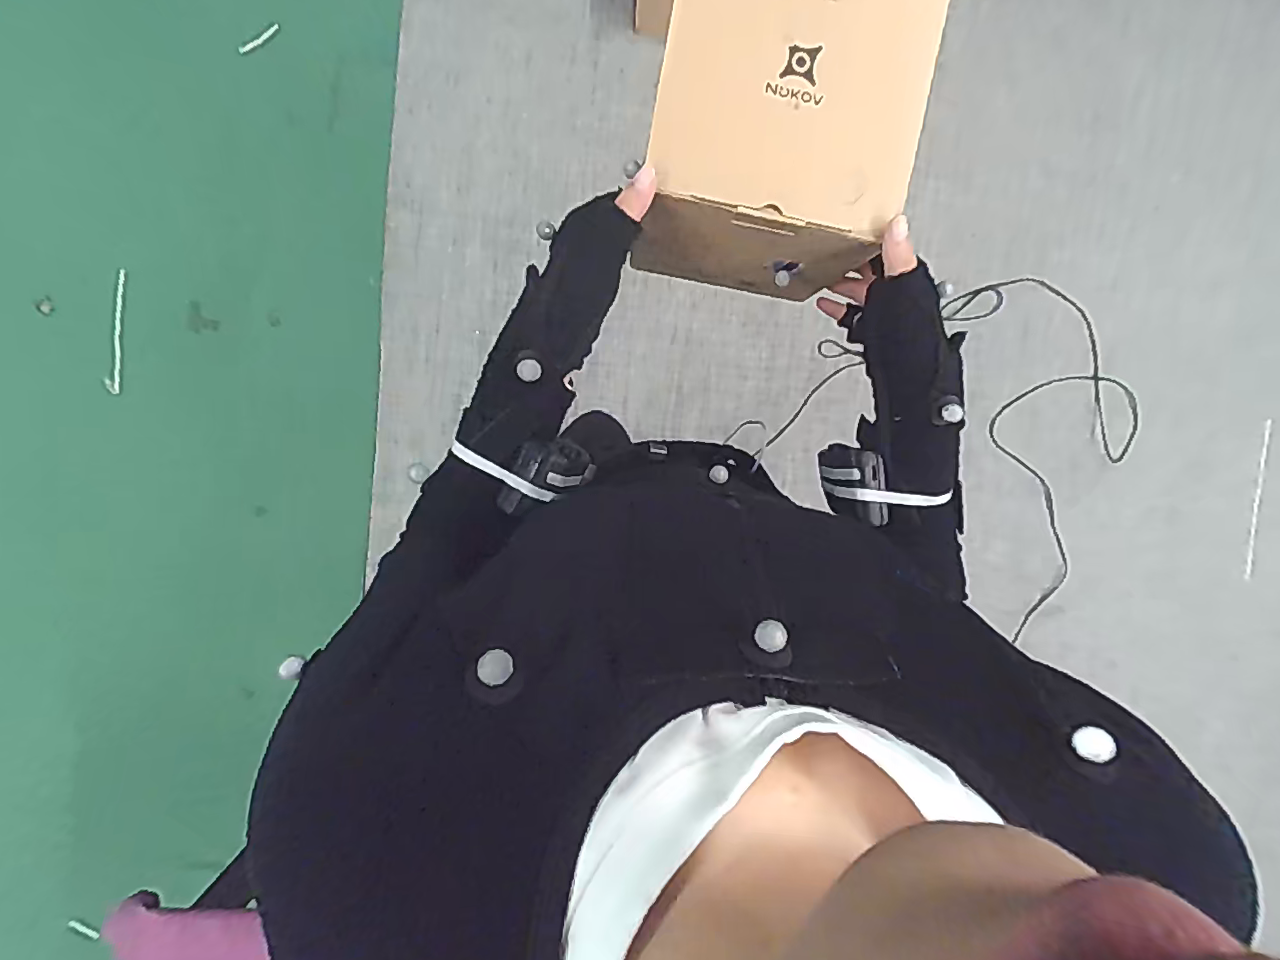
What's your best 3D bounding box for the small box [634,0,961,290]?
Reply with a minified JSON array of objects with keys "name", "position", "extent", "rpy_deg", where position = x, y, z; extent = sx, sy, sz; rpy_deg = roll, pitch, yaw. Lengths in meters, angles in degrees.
[{"name":"small box","position":[0.091,-0.255,0.395],"extent":[0.168,0.176,0.179],"rpy_deg":[11,96,-6]}]
